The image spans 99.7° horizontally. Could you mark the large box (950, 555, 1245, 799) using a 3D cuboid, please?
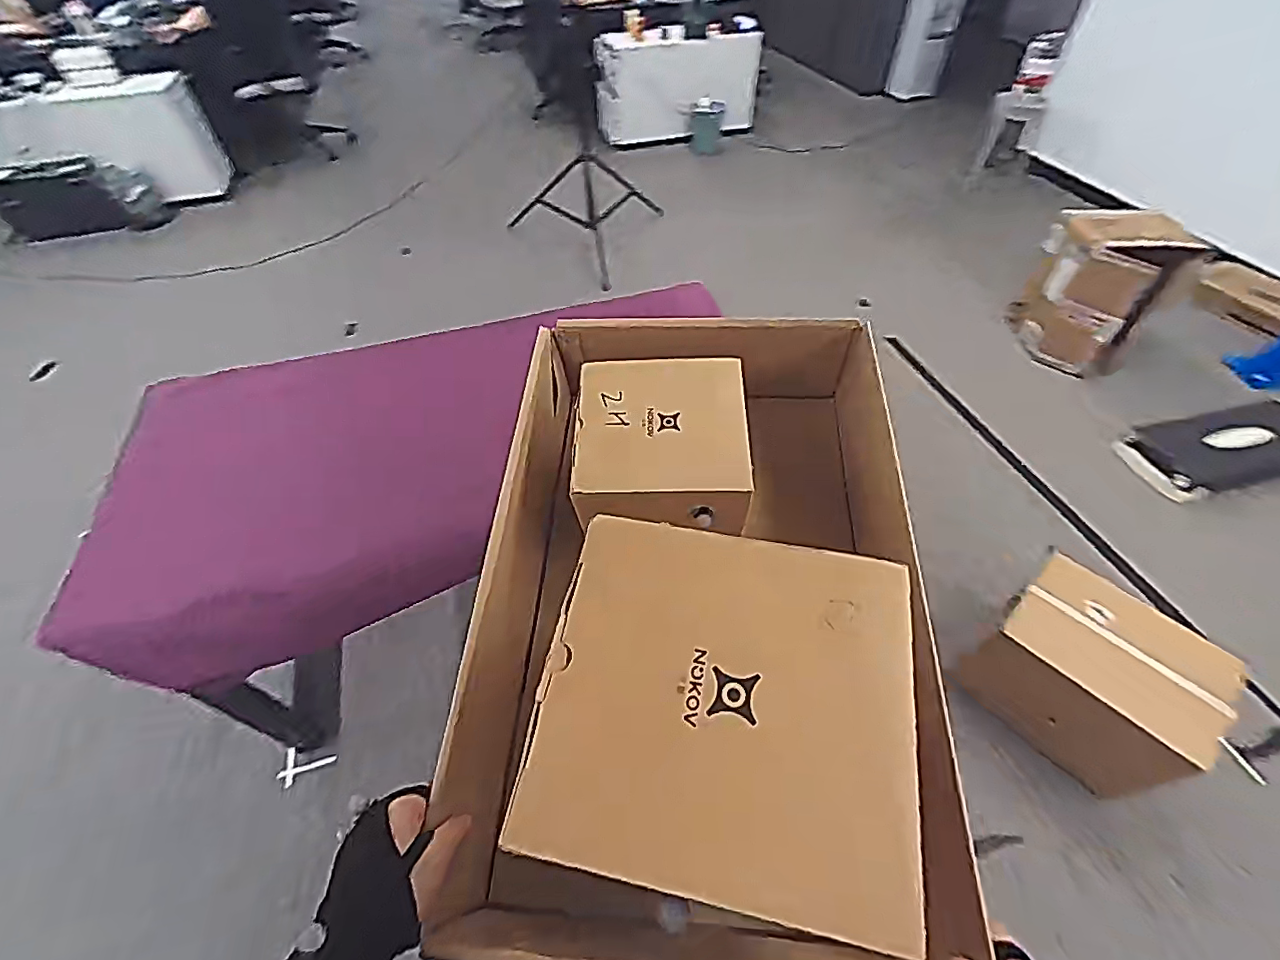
[{"bbox_3d":[1.068,0.470,1.307,0.320,0.320,0.408,-36,57,-26],"label":"large box"}]

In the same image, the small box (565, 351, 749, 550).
[{"bbox_3d":[0.020,-0.027,0.617,0.179,0.176,0.168,-2,59,3],"label":"small box"}]
